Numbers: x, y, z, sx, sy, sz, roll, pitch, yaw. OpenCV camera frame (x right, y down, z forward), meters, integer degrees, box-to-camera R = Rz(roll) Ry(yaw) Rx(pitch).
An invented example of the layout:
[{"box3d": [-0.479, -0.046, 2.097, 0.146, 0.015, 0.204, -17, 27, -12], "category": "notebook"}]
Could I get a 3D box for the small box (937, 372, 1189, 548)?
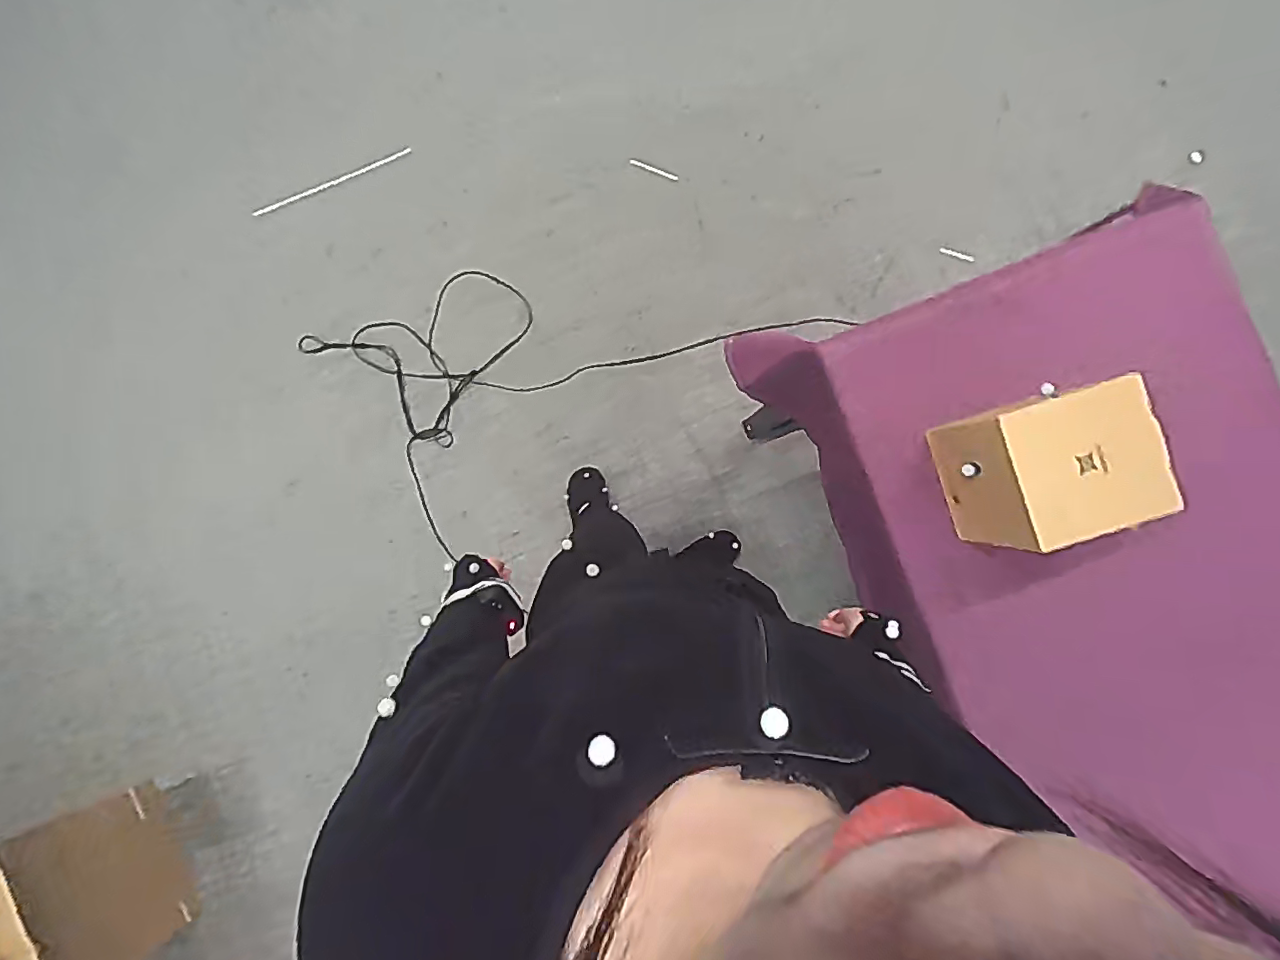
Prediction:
[{"box3d": [0.514, -0.018, 0.692, 0.179, 0.176, 0.168, -17, 88, -1], "category": "small box"}]
